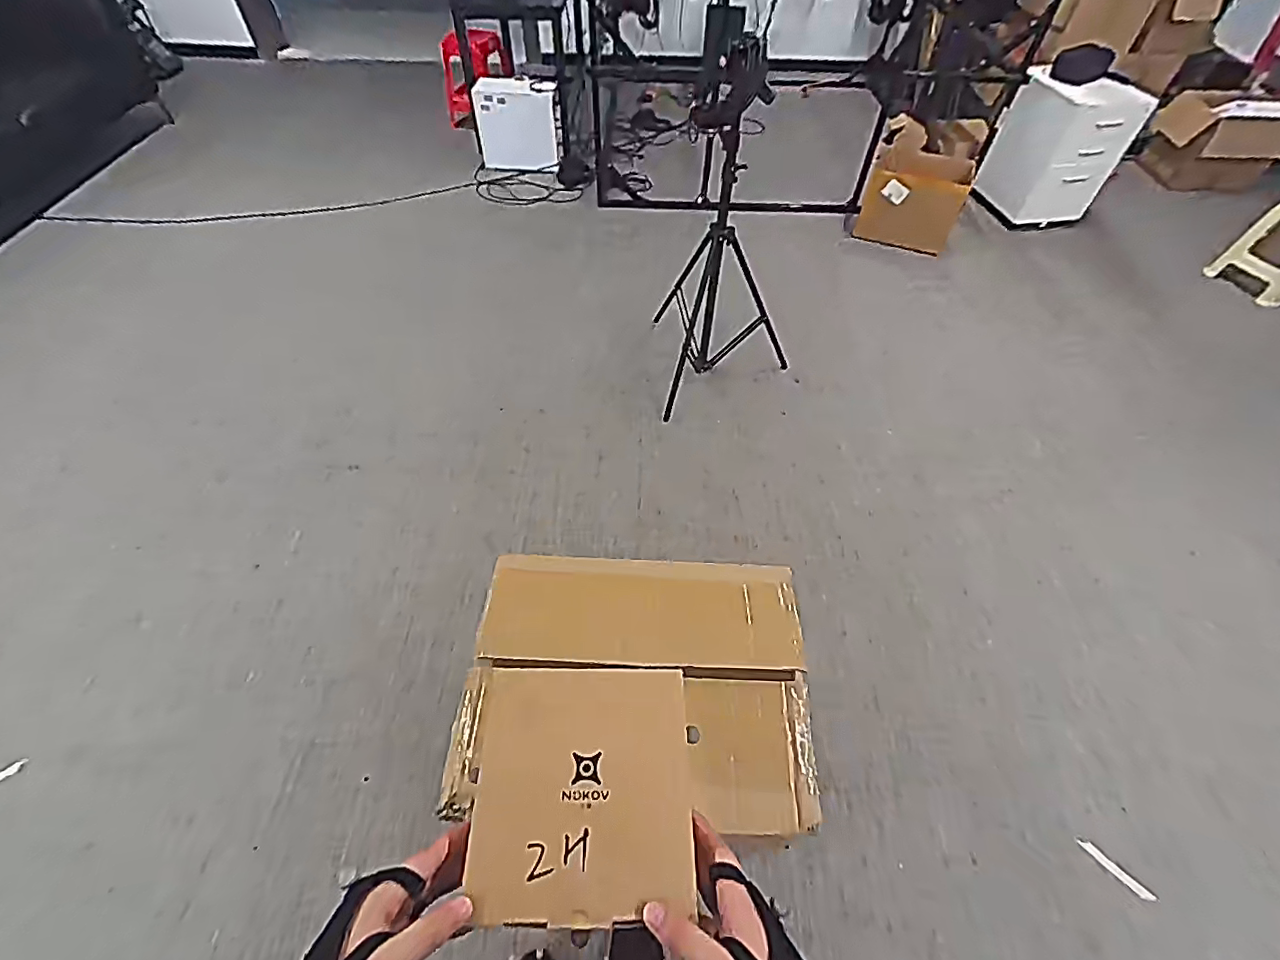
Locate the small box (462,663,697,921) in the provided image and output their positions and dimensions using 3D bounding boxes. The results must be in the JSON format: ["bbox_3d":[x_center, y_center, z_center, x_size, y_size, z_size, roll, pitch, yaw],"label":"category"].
[{"bbox_3d":[-0.047,0.281,0.485,0.168,0.176,0.179,1,51,-3],"label":"small box"}]
